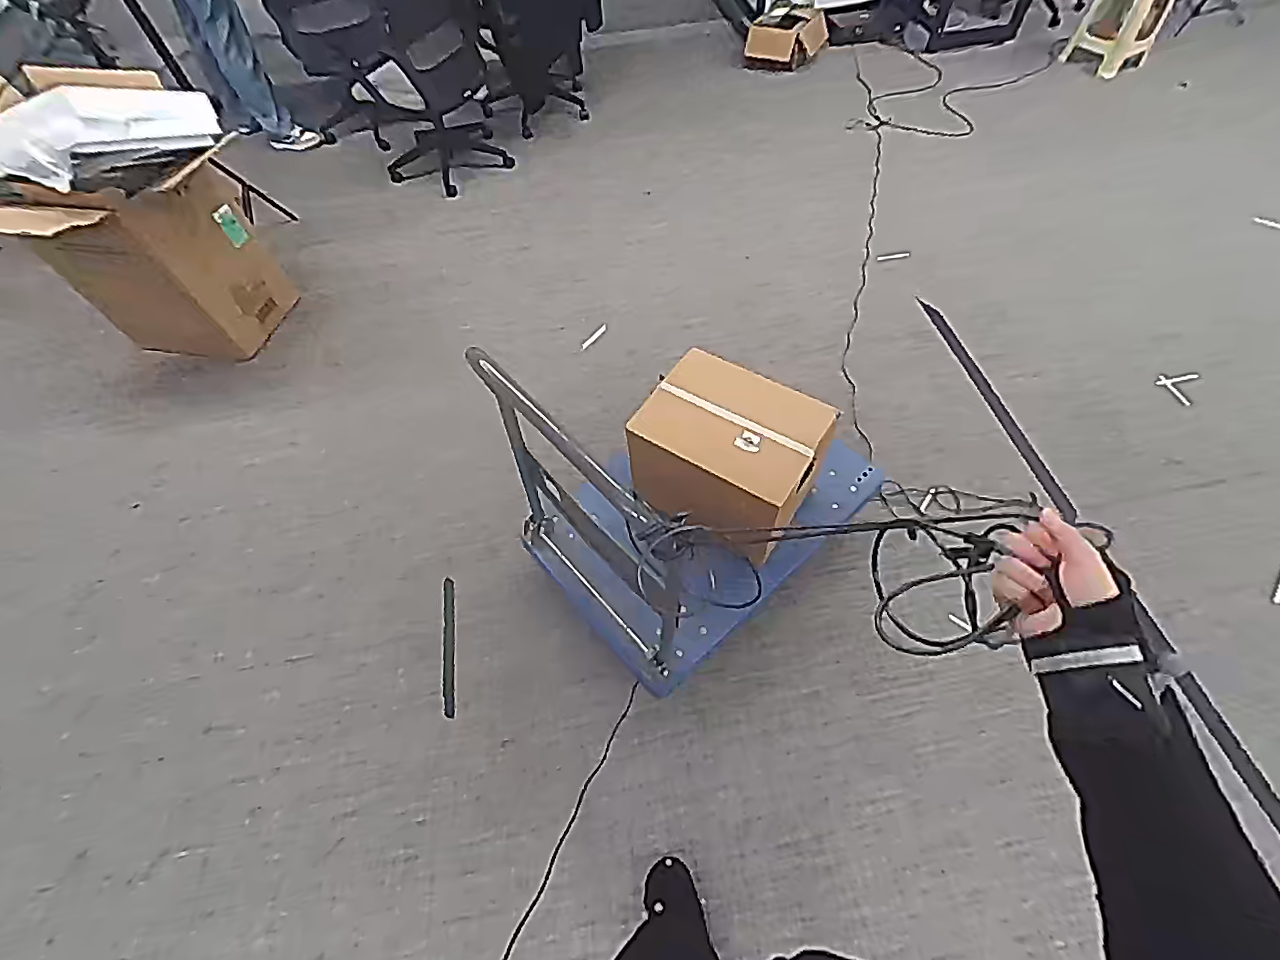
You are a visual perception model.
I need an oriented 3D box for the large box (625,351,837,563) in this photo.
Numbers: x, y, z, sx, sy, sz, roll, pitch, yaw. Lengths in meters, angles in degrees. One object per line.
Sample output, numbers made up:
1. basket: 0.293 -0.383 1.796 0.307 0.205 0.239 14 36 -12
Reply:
1. large box: 0.215 -0.058 1.376 0.408 0.320 0.320 29 64 19
